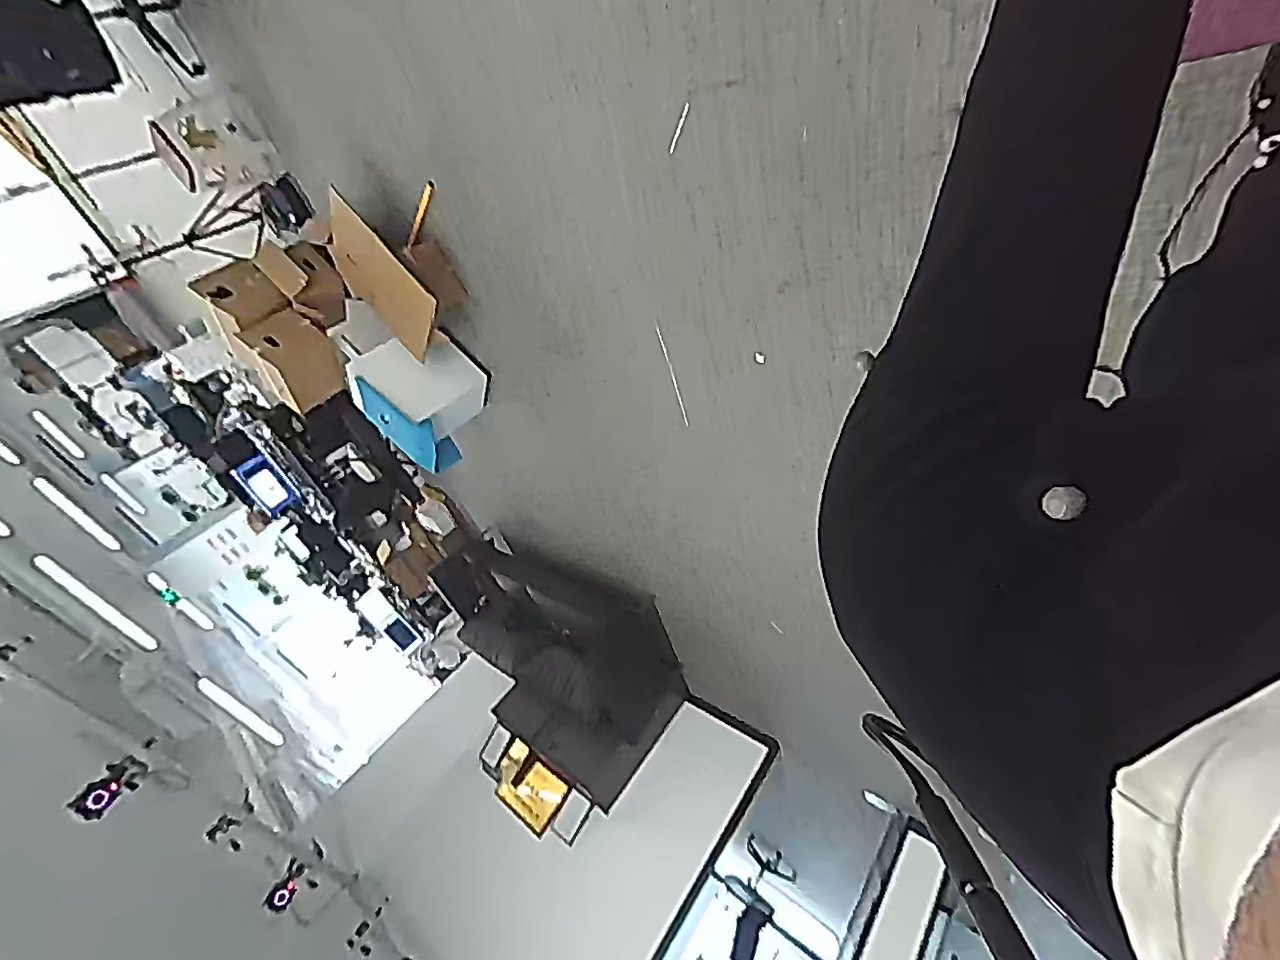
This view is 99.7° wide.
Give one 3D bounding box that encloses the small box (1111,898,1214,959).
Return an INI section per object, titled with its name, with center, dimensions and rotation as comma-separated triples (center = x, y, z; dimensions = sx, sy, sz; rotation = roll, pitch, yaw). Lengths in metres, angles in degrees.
[small box]
center = 1.394, 1.277, 1.444
dimensions = 0.168, 0.176, 0.179
rotation = 16, 137, 38
